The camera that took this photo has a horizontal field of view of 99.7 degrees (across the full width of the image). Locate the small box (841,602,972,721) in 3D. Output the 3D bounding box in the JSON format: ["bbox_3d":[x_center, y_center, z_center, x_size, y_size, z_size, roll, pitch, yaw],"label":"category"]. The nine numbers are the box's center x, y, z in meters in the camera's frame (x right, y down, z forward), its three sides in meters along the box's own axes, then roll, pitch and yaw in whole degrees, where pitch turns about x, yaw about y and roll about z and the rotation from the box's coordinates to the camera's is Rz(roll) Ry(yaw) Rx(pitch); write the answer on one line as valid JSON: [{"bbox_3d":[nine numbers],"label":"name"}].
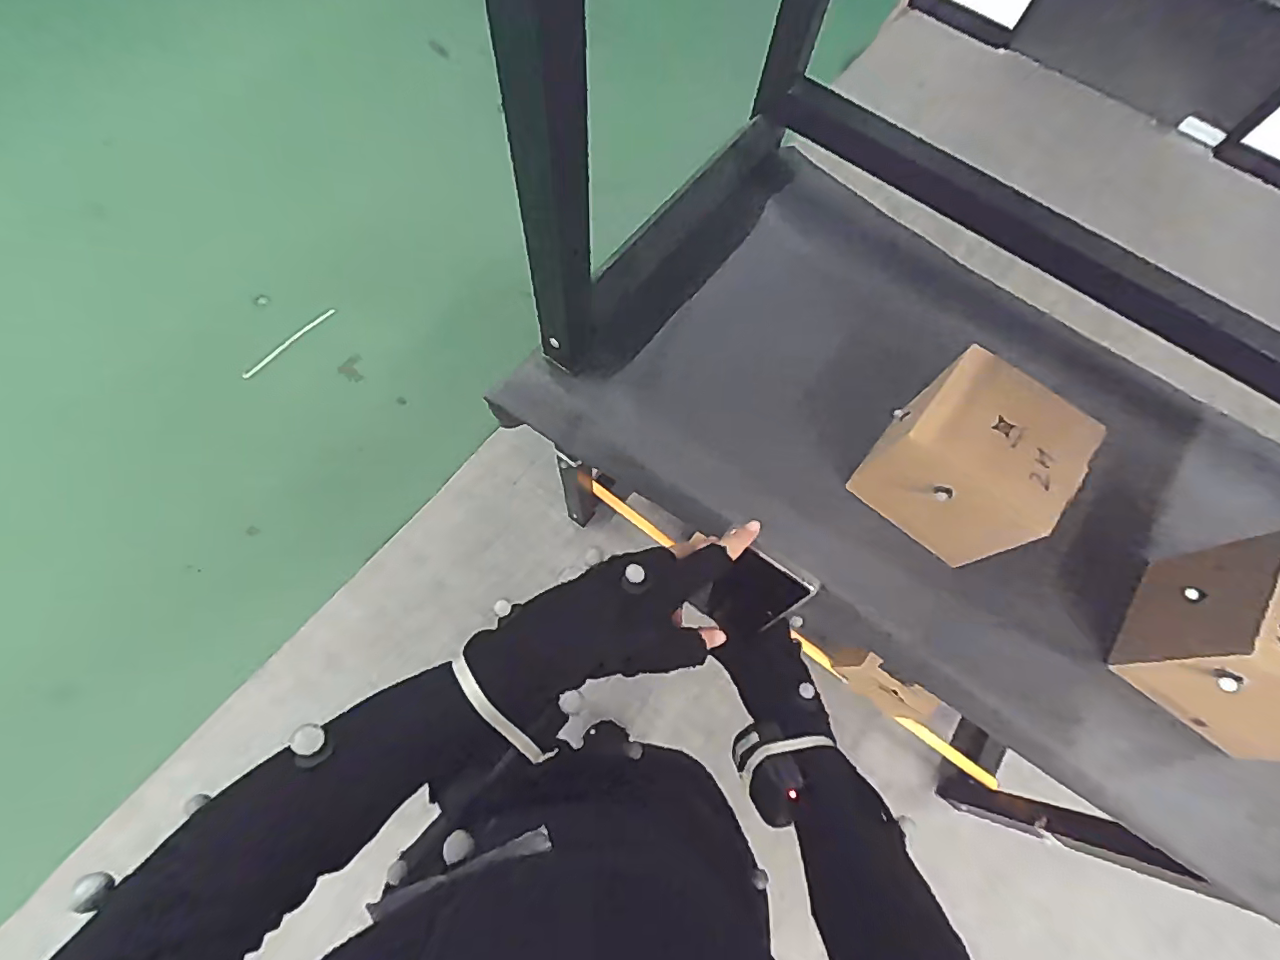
[{"bbox_3d":[0.568,0.396,1.182,0.168,0.176,0.179,39,72,11],"label":"small box"}]

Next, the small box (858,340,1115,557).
[{"bbox_3d":[0.406,-0.028,0.666,0.179,0.176,0.168,39,71,11],"label":"small box"}]
